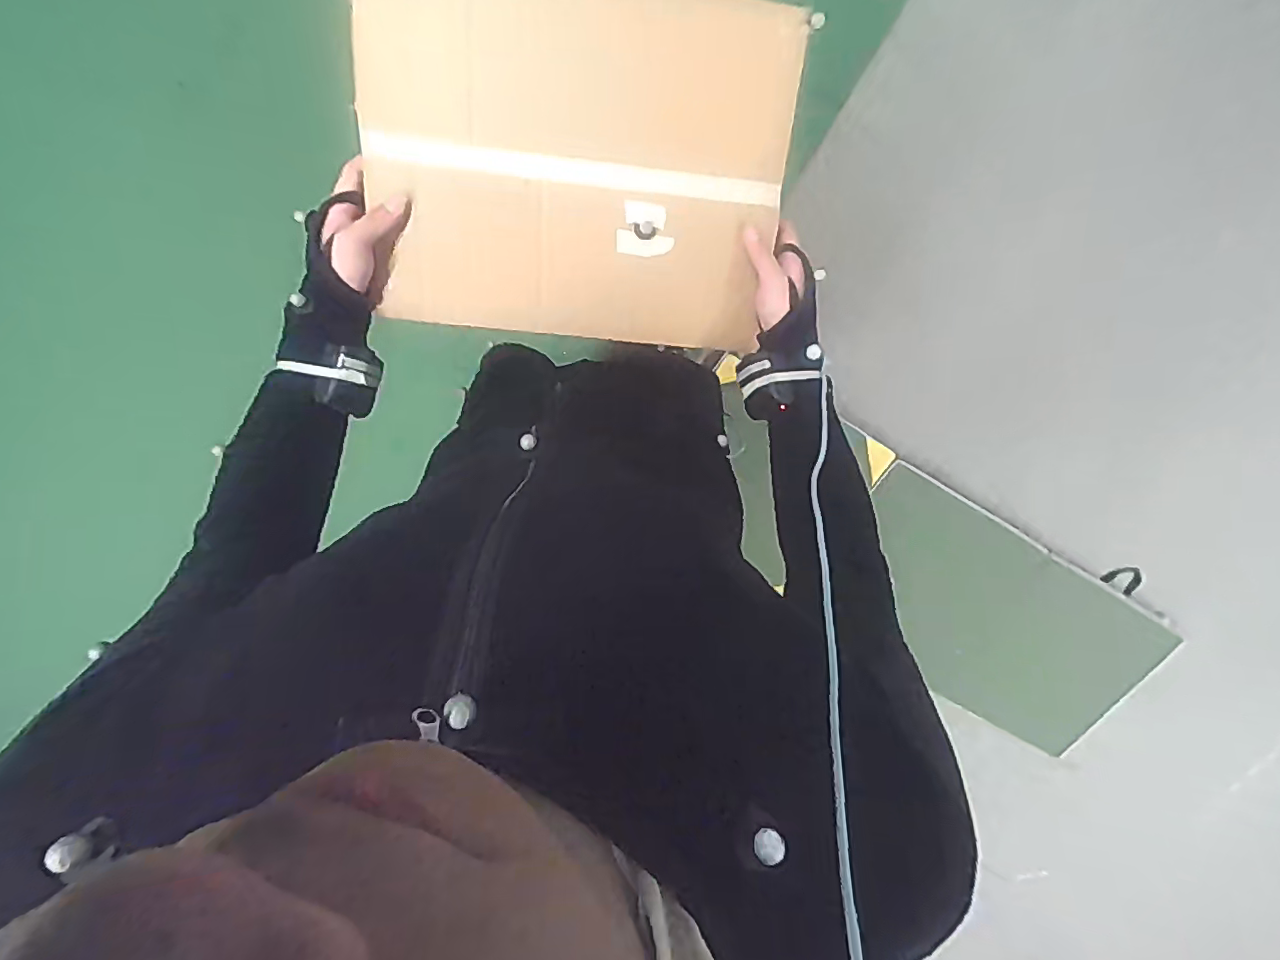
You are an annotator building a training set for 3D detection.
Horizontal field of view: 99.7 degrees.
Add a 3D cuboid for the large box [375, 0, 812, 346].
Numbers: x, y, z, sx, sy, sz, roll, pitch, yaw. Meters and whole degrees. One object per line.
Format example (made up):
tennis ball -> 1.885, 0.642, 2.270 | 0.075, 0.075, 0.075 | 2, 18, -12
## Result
large box -> -0.064, -0.359, 0.674 | 0.408, 0.320, 0.320 | 4, 111, -8
